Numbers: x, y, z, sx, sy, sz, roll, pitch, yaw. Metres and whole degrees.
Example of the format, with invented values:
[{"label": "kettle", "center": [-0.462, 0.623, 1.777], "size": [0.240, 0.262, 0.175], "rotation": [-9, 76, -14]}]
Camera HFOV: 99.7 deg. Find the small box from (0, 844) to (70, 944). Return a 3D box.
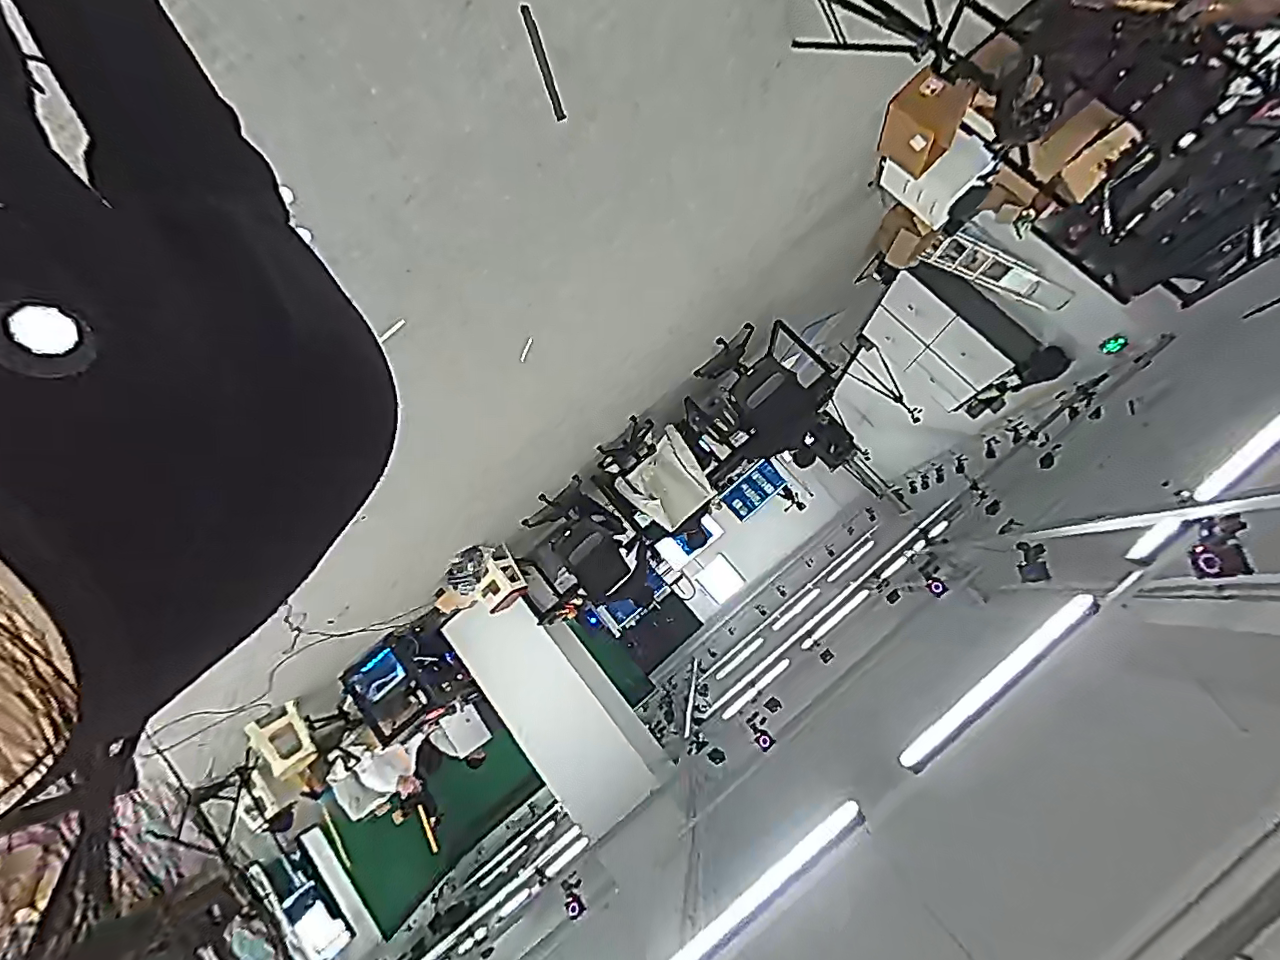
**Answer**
[{"label": "small box", "center": [-1.755, 1.157, 1.481], "size": [0.168, 0.176, 0.179], "rotation": [-40, 167, 0]}]
